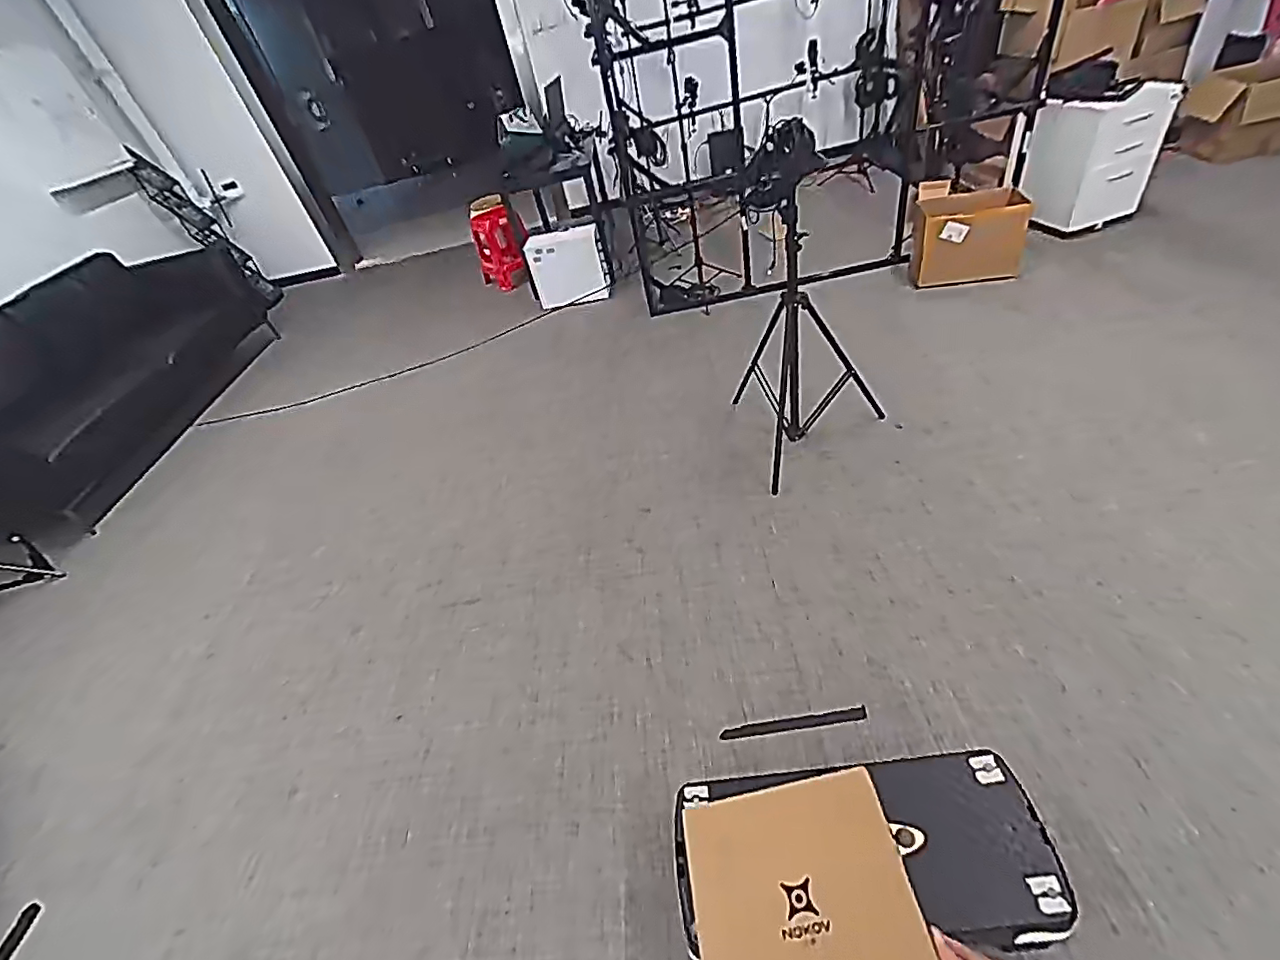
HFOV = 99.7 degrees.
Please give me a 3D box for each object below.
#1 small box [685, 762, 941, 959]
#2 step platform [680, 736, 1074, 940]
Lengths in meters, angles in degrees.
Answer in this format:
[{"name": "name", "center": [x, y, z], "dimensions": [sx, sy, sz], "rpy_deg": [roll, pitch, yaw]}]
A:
[{"name": "small box", "center": [0.150, 0.372, 0.451], "dimensions": [0.168, 0.176, 0.179], "rpy_deg": [-20, 40, 11]}, {"name": "step platform", "center": [0.422, 0.714, 1.064], "dimensions": [0.684, 0.204, 0.286], "rpy_deg": [-11, 40, 6]}]
